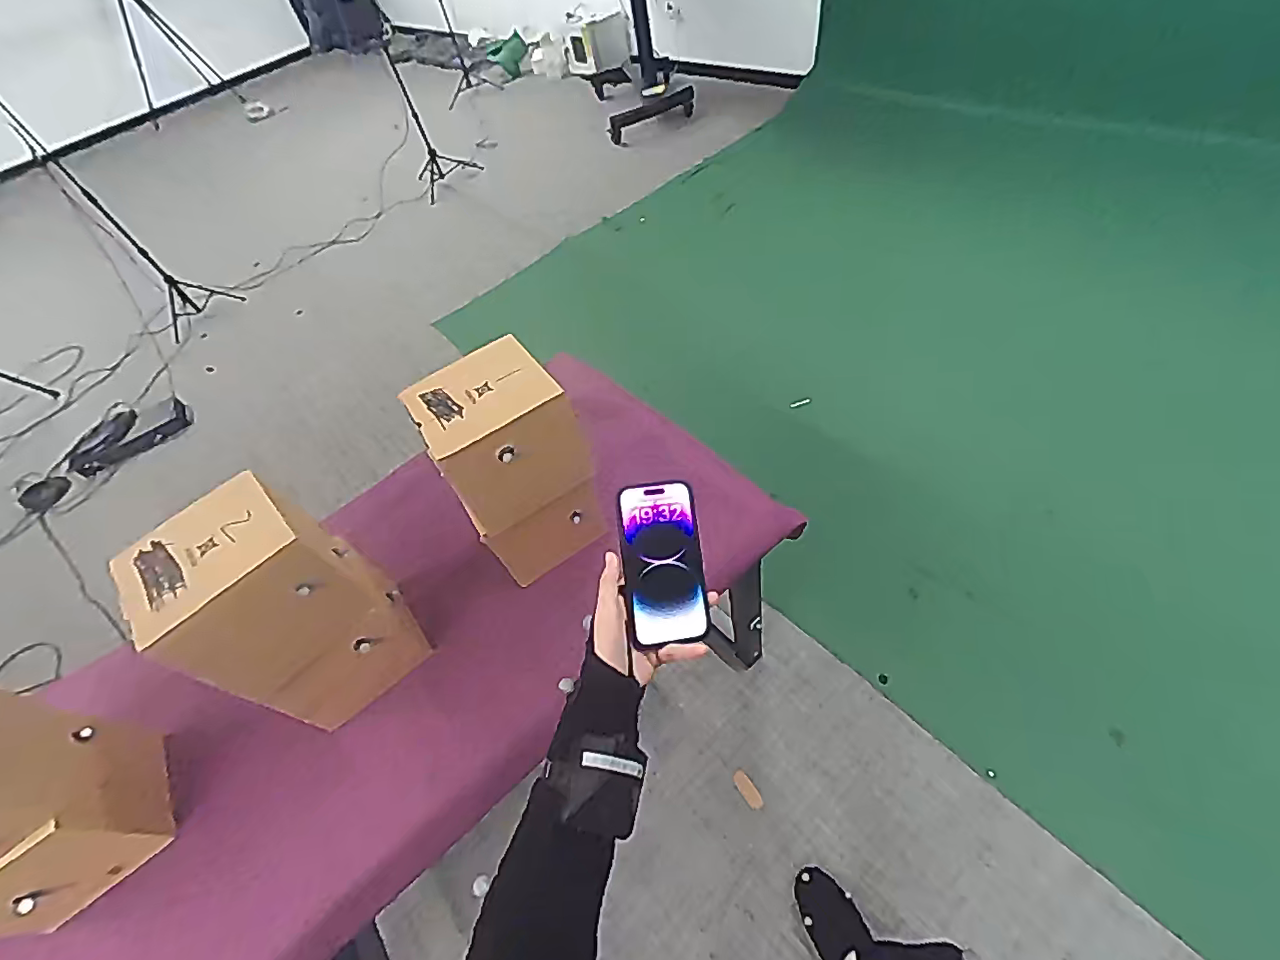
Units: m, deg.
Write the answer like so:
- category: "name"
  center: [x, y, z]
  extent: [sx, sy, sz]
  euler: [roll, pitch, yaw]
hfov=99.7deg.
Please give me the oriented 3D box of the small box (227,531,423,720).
- category: "small box"
  center: [-0.448, 0.216, 0.797]
  extent: [0.179, 0.176, 0.168]
  euler: [-38, 54, -16]

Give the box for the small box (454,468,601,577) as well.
- category: "small box"
  center: [-0.180, 0.024, 0.883]
  extent: [0.179, 0.176, 0.168]
  euler: [-33, 53, -11]

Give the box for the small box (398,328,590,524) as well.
- category: "small box"
  center: [-0.194, -0.071, 0.749]
  extent: [0.179, 0.176, 0.168]
  euler: [-33, 53, -13]

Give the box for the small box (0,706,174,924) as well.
- category: "small box"
  center: [-0.758, 0.435, 0.703]
  extent: [0.168, 0.176, 0.179]
  euler: [-37, 54, -15]

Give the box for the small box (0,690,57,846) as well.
- category: "small box"
  center: [-0.794, 0.332, 0.580]
  extent: [0.168, 0.176, 0.179]
  euler: [-41, 56, -19]
